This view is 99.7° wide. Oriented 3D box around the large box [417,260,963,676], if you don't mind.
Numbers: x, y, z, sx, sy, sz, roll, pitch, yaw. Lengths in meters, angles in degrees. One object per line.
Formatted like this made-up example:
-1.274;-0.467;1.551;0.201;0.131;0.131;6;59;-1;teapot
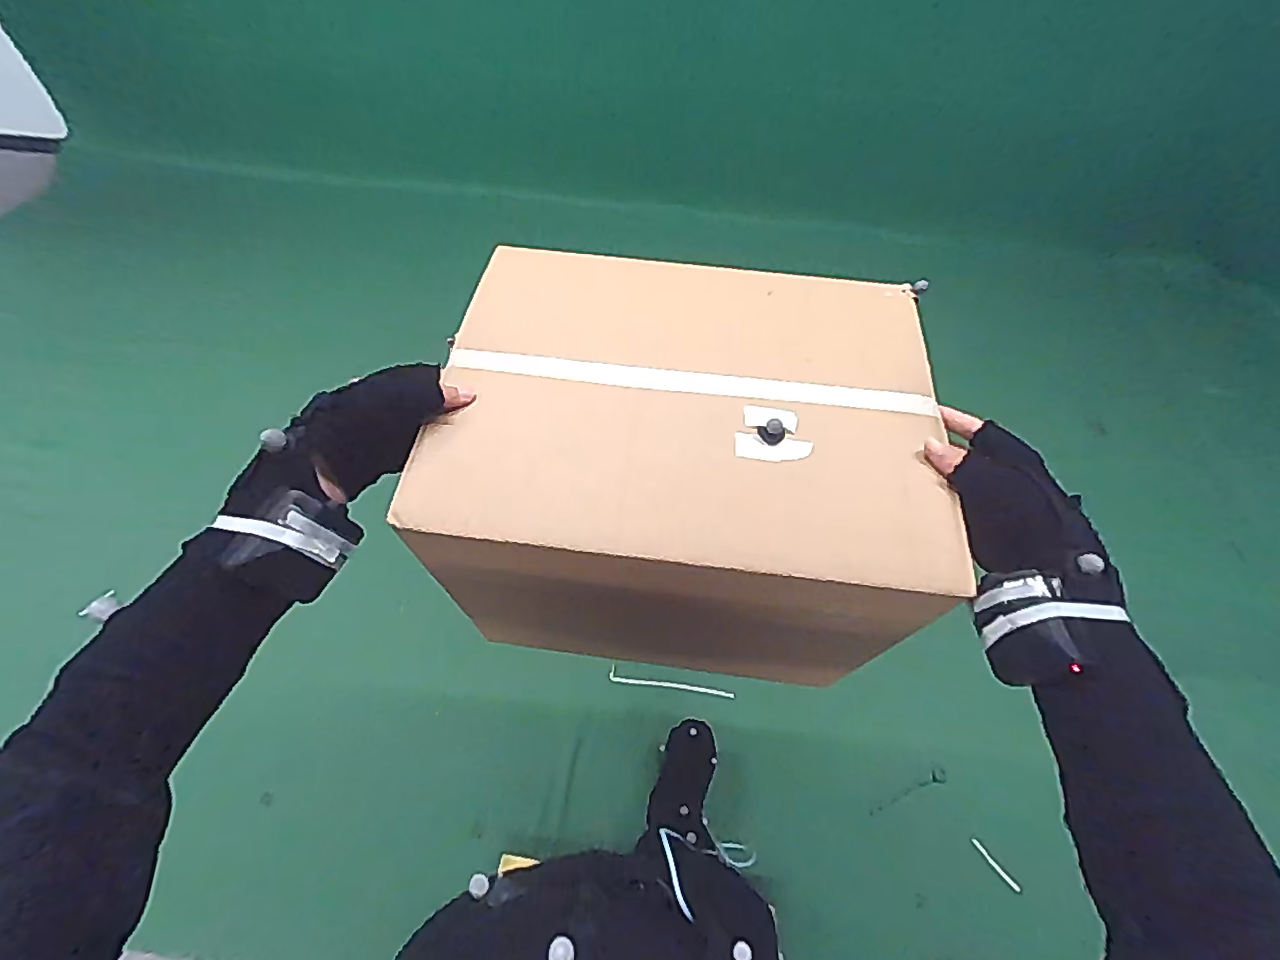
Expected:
0.041;0.004;0.589;0.408;0.320;0.320;7;59;2;large box
